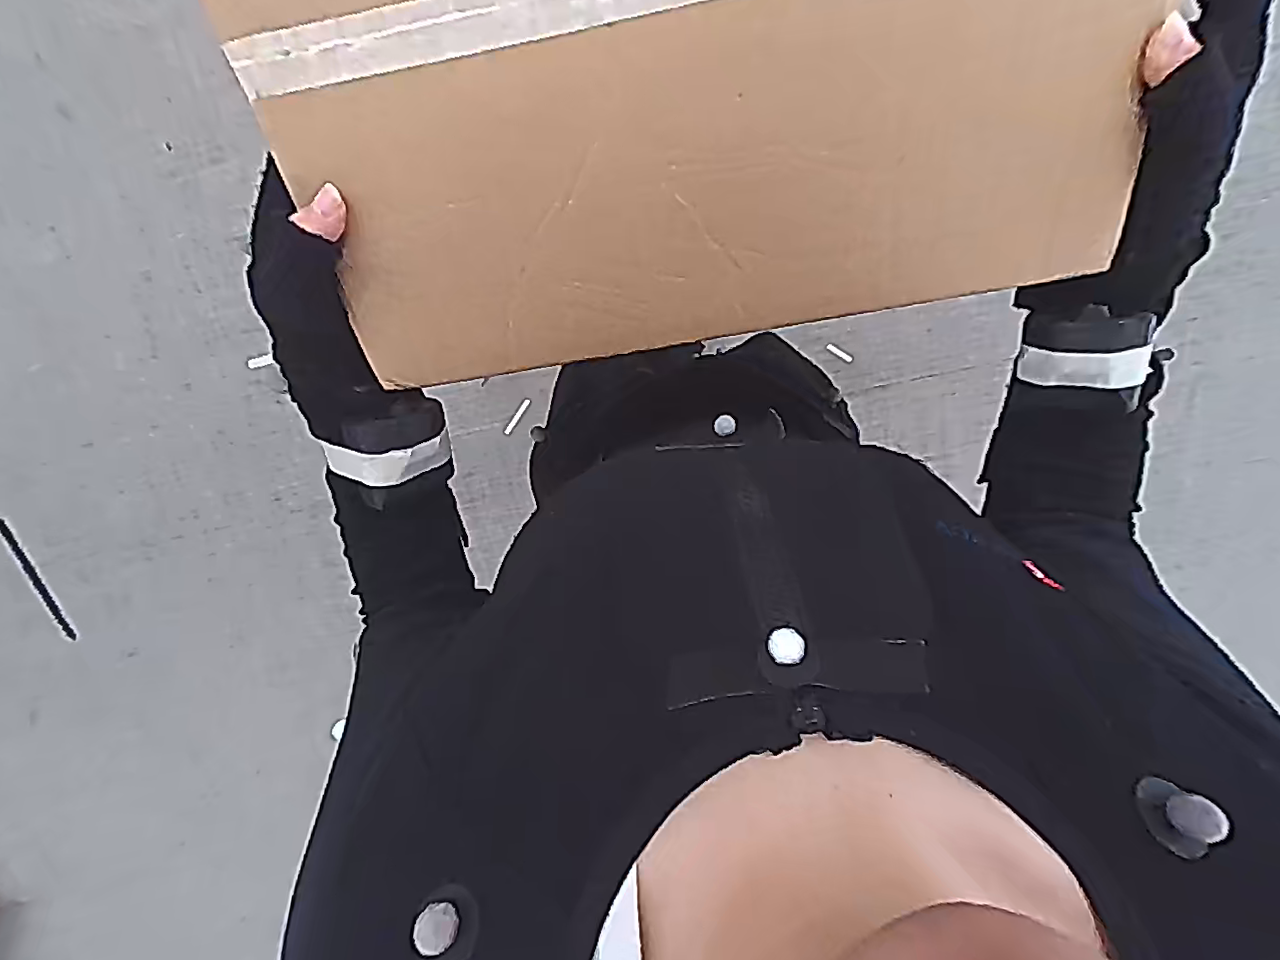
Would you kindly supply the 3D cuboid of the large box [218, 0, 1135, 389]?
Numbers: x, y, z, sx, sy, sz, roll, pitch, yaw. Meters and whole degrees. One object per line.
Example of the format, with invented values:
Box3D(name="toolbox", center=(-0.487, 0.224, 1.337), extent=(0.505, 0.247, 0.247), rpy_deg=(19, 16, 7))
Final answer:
Box3D(name="large box", center=(0.017, -0.294, 0.359), extent=(0.408, 0.320, 0.320), rpy_deg=(-9, 121, 5))
